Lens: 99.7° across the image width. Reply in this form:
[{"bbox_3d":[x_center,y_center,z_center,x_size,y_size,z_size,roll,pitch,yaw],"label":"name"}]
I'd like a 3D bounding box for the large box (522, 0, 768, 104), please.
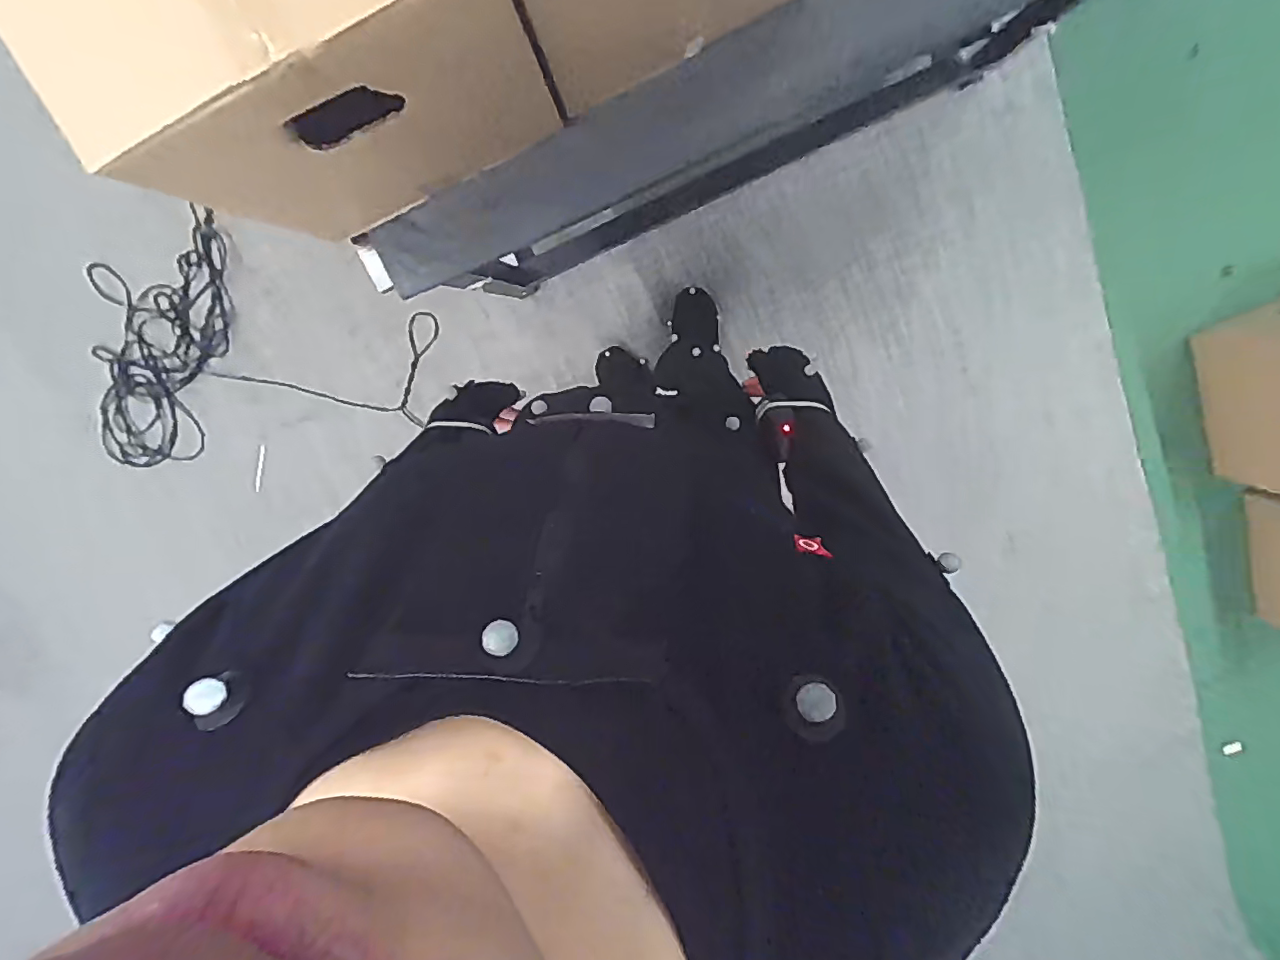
[{"bbox_3d":[-0.029,-0.616,0.410,0.320,0.320,0.408,-24,105,9],"label":"large box"}]
